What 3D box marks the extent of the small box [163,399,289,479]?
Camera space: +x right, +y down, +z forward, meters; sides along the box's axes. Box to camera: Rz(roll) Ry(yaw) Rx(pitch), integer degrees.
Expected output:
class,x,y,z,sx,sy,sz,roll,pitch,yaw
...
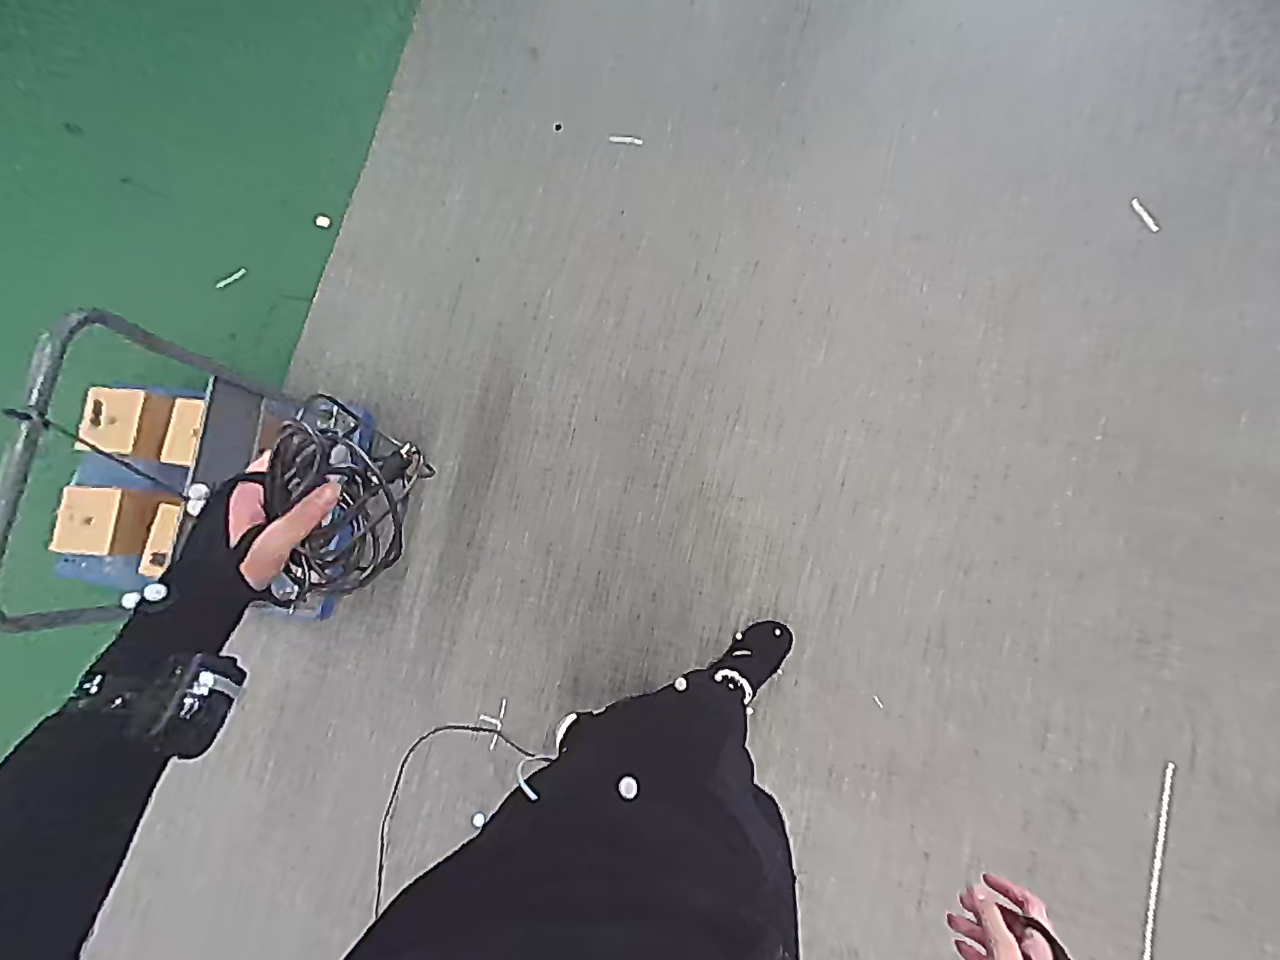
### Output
class,x,y,z,sx,sy,sz,roll,pitch,yaw
small box,-1.074,-0.102,1.414,0.179,0.176,0.168,7,82,10

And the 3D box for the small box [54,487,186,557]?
class,x,y,z,sx,sy,sz,roll,pitch,yaw
small box,-1.355,0.115,1.422,0.179,0.176,0.168,3,80,9

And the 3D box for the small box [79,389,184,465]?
class,x,y,z,sx,sy,sz,roll,pitch,yaw
small box,-1.332,-0.139,1.460,0.179,0.176,0.168,4,82,9
